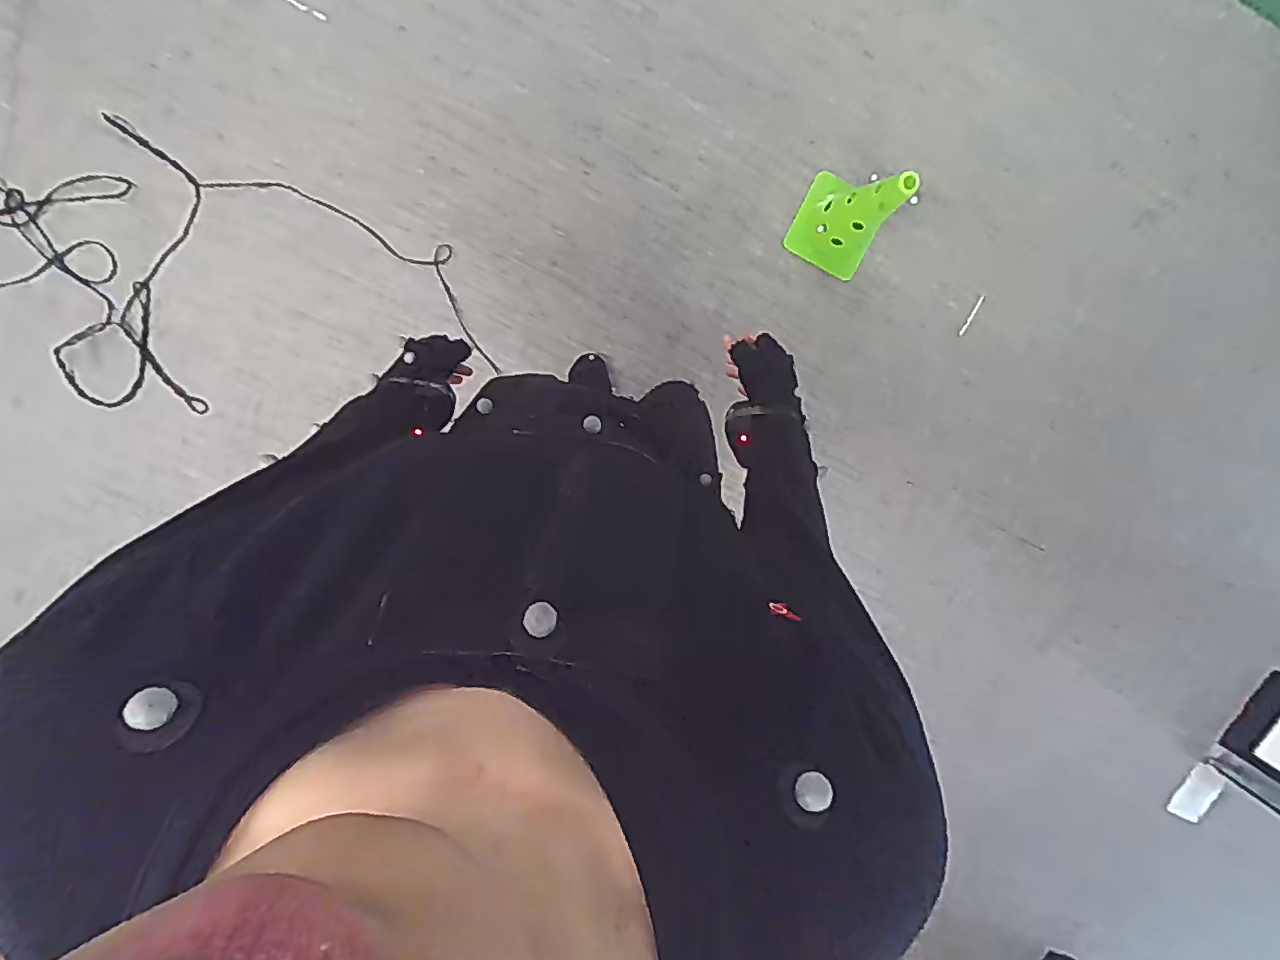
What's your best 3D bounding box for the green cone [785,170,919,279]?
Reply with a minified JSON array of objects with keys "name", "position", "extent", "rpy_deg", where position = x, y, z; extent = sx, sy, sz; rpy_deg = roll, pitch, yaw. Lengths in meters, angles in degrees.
[{"name":"green cone","position":[0.486,-0.586,1.162],"extent":[0.200,0.368,0.202],"rpy_deg":[24,101,-7]}]
